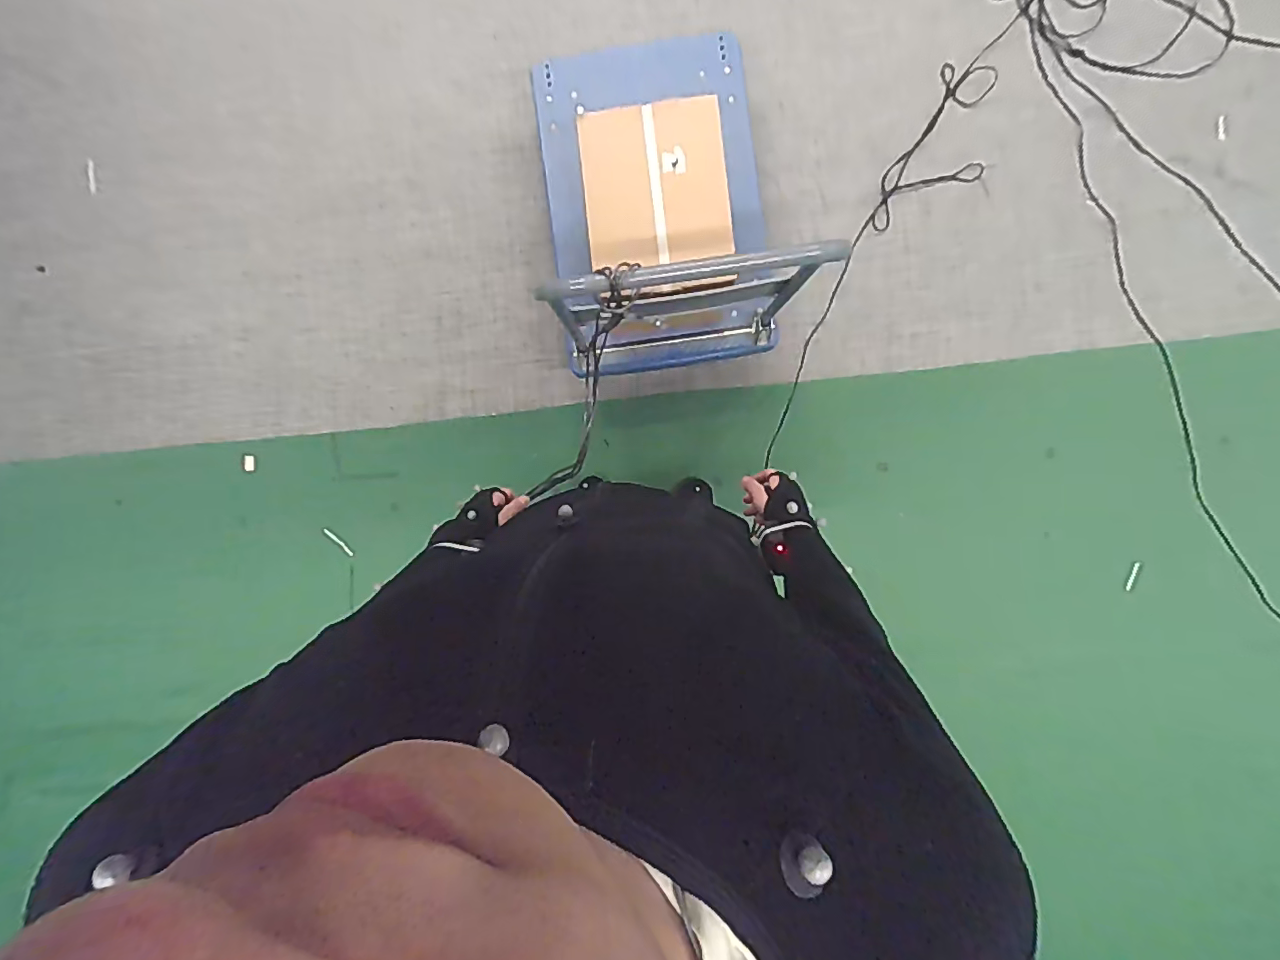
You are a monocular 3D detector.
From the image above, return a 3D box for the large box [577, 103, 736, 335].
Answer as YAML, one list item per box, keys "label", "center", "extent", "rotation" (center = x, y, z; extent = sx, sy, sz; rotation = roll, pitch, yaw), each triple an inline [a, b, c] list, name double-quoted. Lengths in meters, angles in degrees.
- label: "large box"
  center: [0.041, -0.611, 1.333]
  extent: [0.320, 0.320, 0.408]
  rotation: [-6, 89, 1]
